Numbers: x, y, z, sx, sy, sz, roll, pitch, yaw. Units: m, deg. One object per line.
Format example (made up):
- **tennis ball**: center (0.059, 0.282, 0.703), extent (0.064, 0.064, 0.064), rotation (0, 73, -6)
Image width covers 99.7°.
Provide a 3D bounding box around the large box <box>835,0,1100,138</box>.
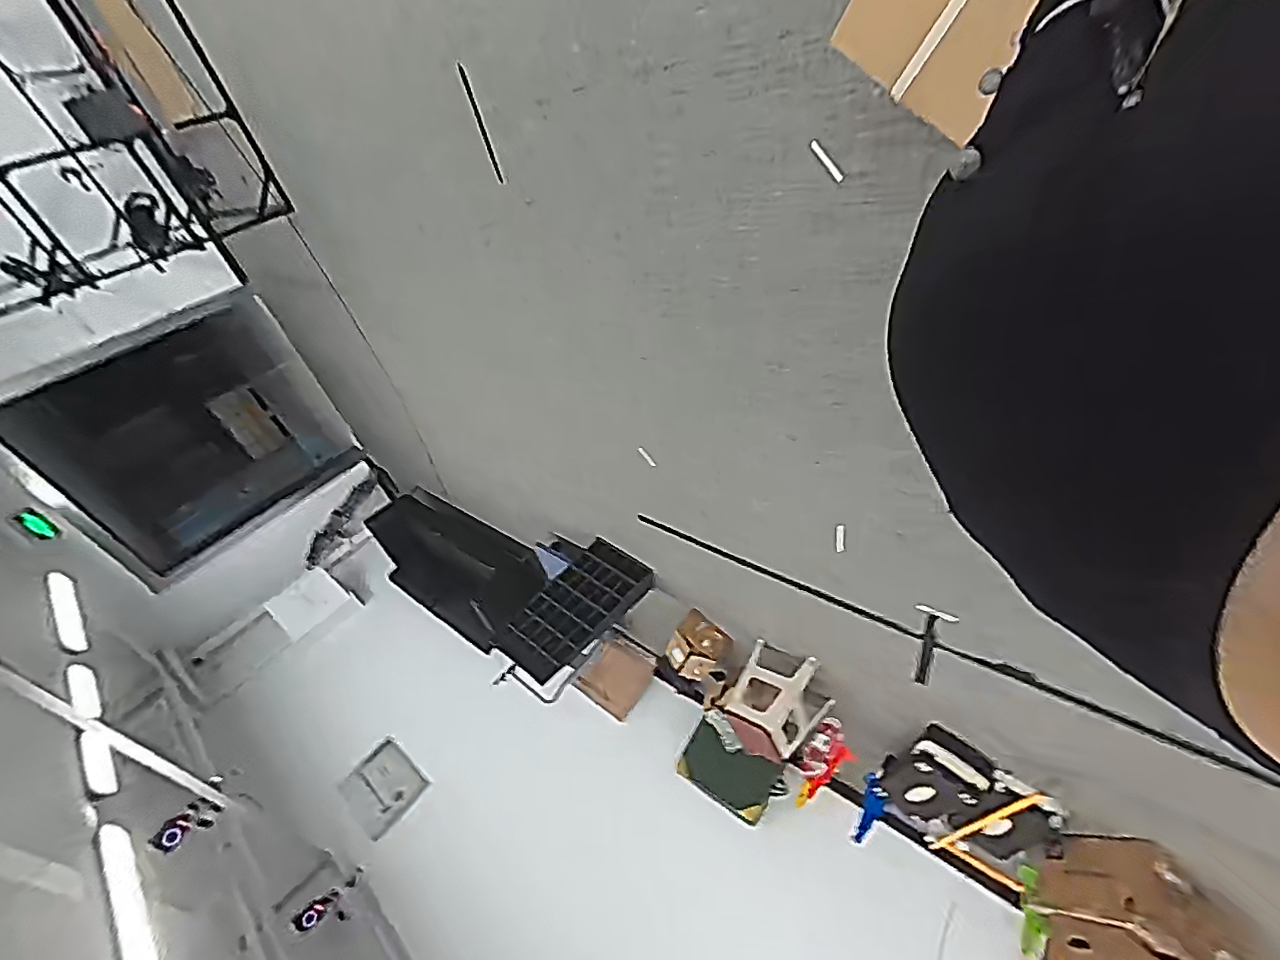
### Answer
- **large box**: center (0.602, -0.860, 0.857), extent (0.320, 0.320, 0.408), rotation (43, 149, 5)
